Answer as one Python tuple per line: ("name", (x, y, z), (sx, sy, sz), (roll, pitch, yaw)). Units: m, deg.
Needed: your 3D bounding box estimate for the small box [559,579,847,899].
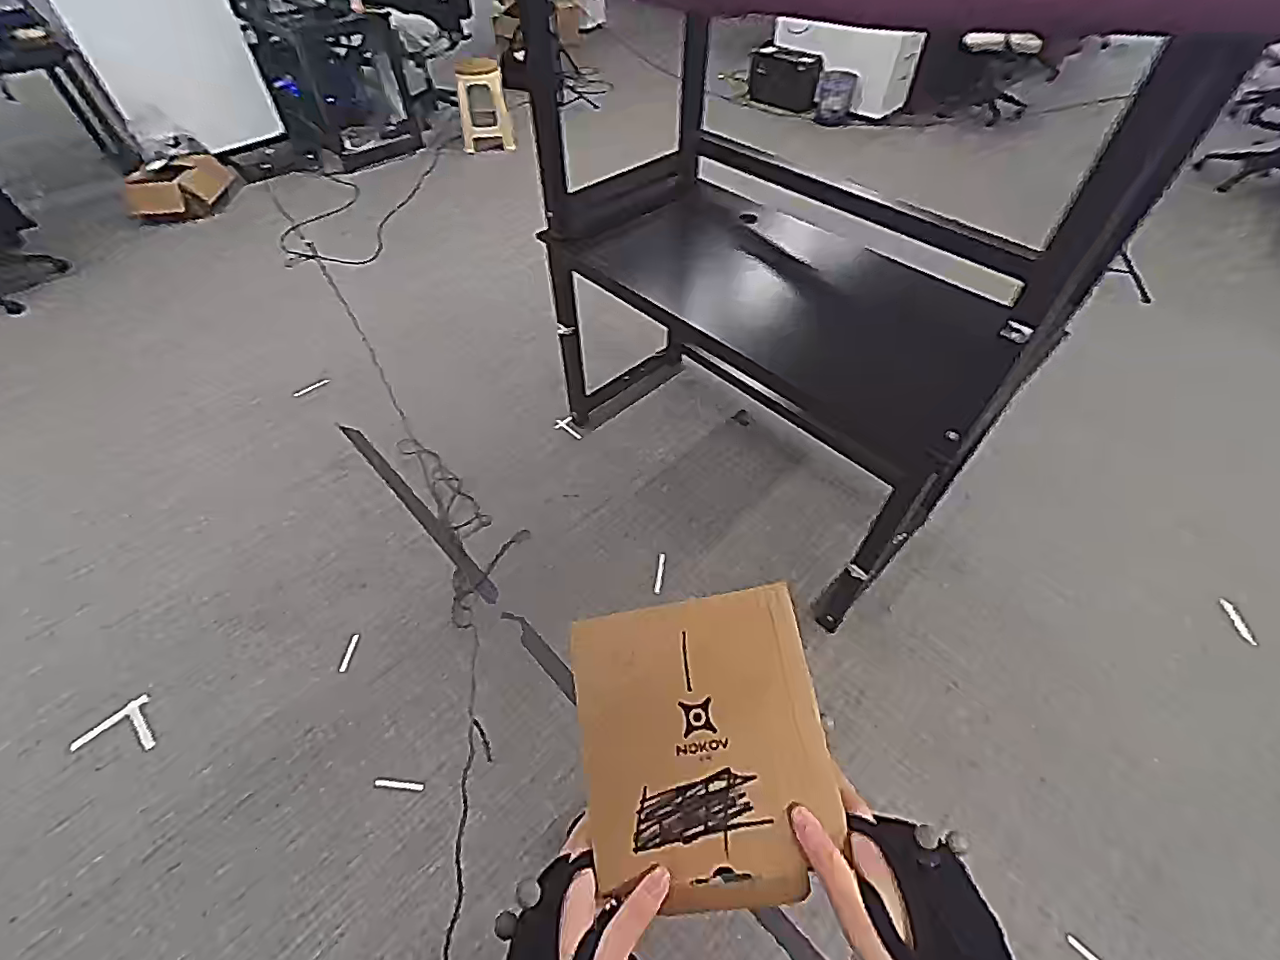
("small box", (0.046, 0.190, 0.432), (0.168, 0.176, 0.179), (-12, 69, 5))
